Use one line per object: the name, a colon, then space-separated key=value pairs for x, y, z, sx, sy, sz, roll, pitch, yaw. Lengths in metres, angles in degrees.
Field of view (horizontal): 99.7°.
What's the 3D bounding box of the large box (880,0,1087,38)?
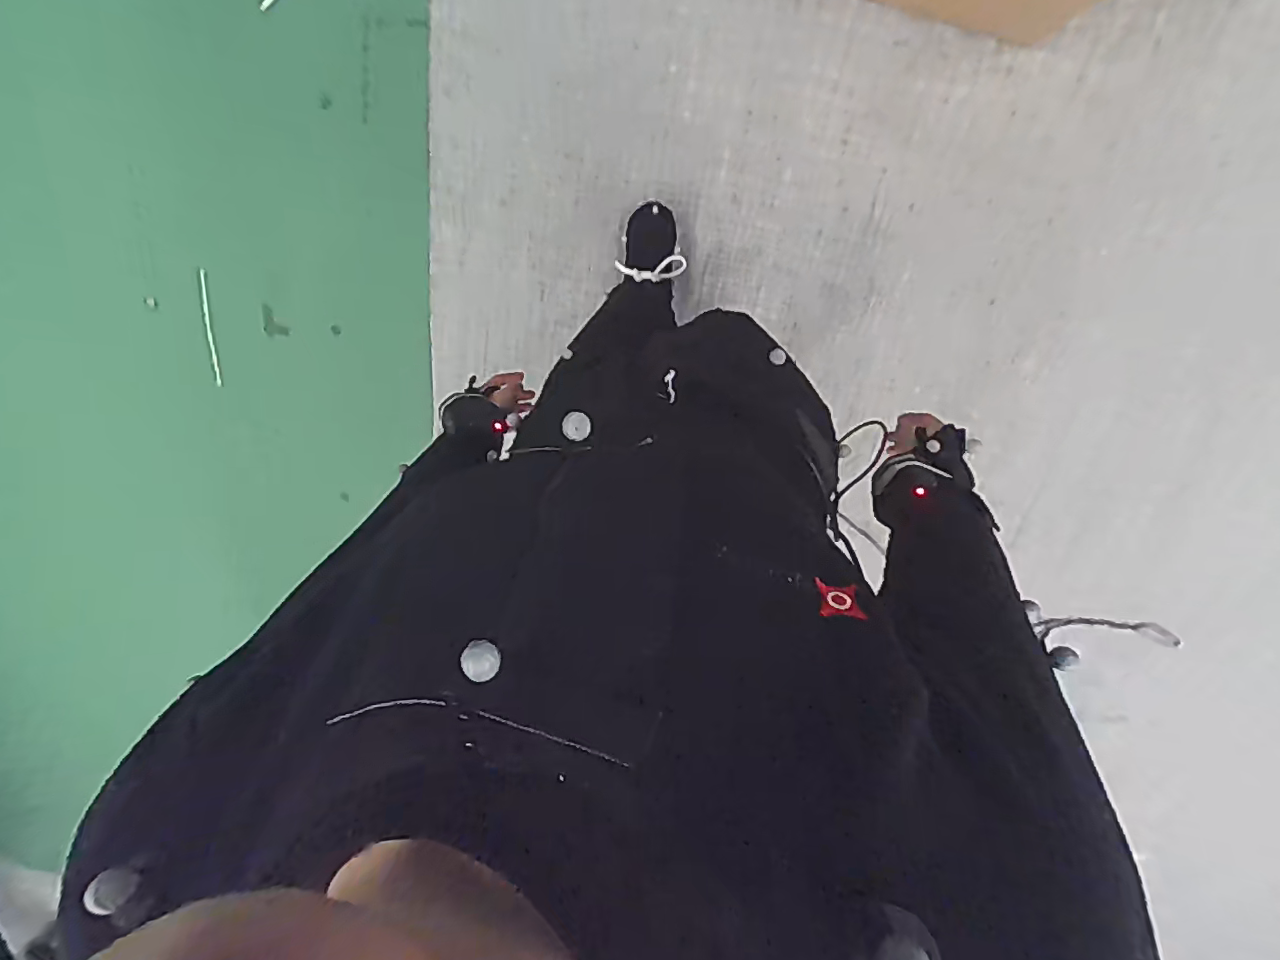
large box: x=0.518 y=-0.905 z=0.761 sx=0.408 sy=0.320 sz=0.320 roll=18 pitch=116 yaw=3
